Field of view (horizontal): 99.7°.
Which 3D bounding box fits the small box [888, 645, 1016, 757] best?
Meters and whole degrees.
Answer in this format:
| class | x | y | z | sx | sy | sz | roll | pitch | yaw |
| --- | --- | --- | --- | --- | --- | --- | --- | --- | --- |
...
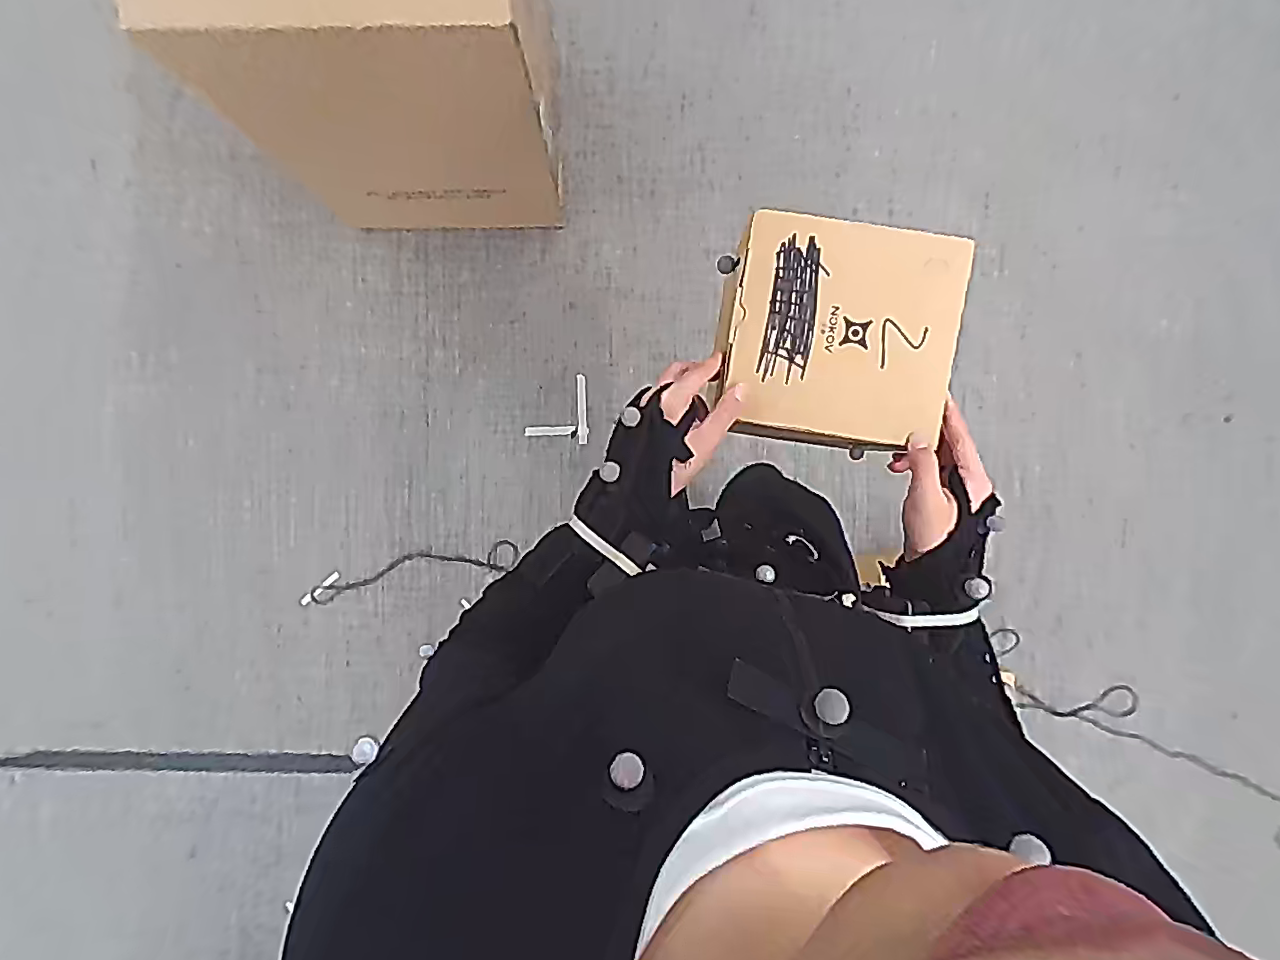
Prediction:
| class | x | y | z | sx | sy | sz | roll | pitch | yaw |
| --- | --- | --- | --- | --- | --- | --- | --- | --- | --- |
| small box | 0.640 | 0.453 | 1.127 | 0.179 | 0.176 | 0.168 | 1 | 92 | -2 |
